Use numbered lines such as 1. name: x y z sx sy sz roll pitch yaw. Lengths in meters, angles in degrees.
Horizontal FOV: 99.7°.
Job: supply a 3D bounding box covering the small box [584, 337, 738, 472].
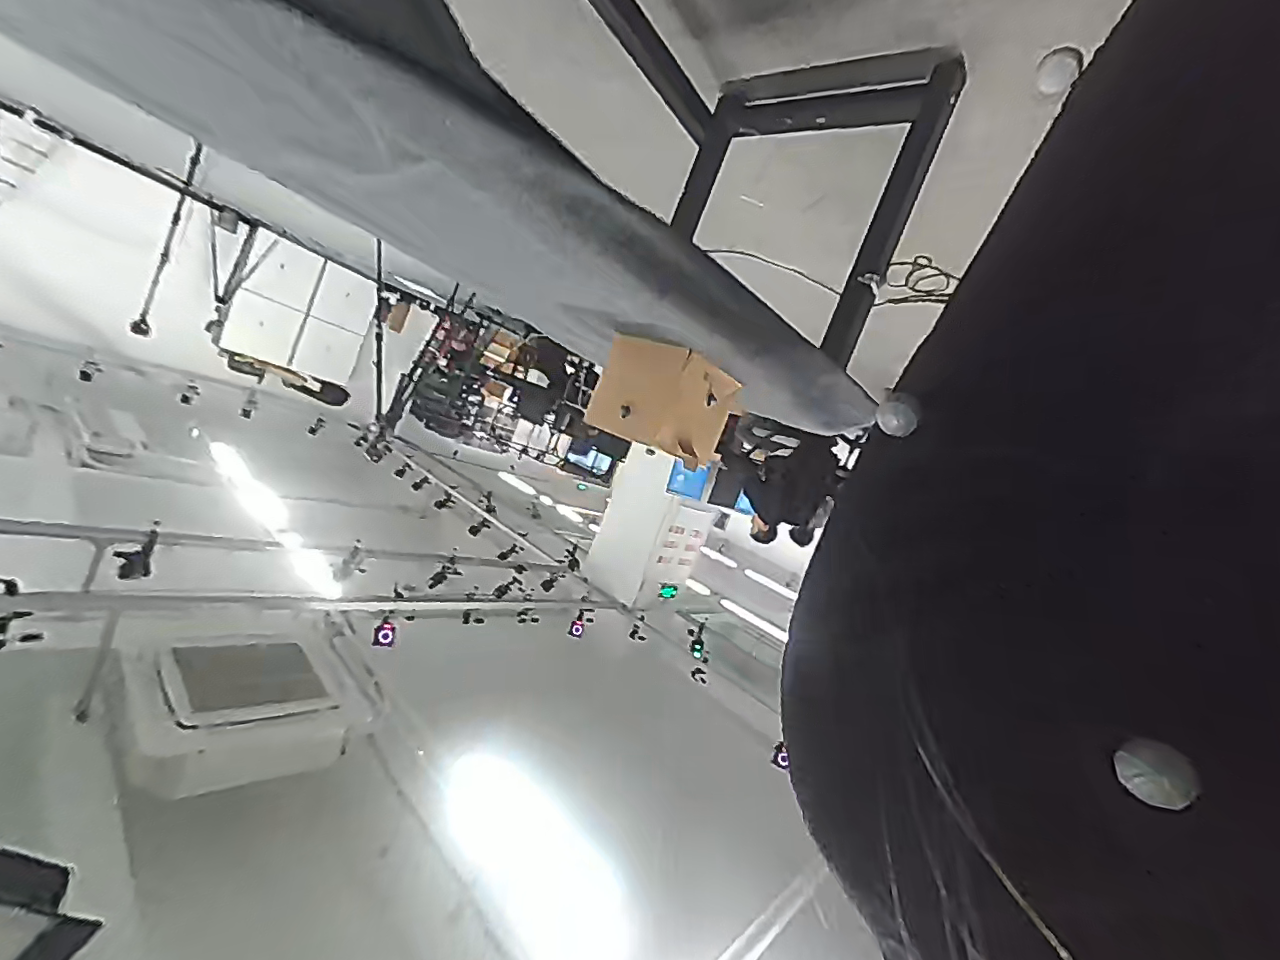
1. small box: 0.039 -0.135 0.944 0.179 0.176 0.168 24 -176 41
